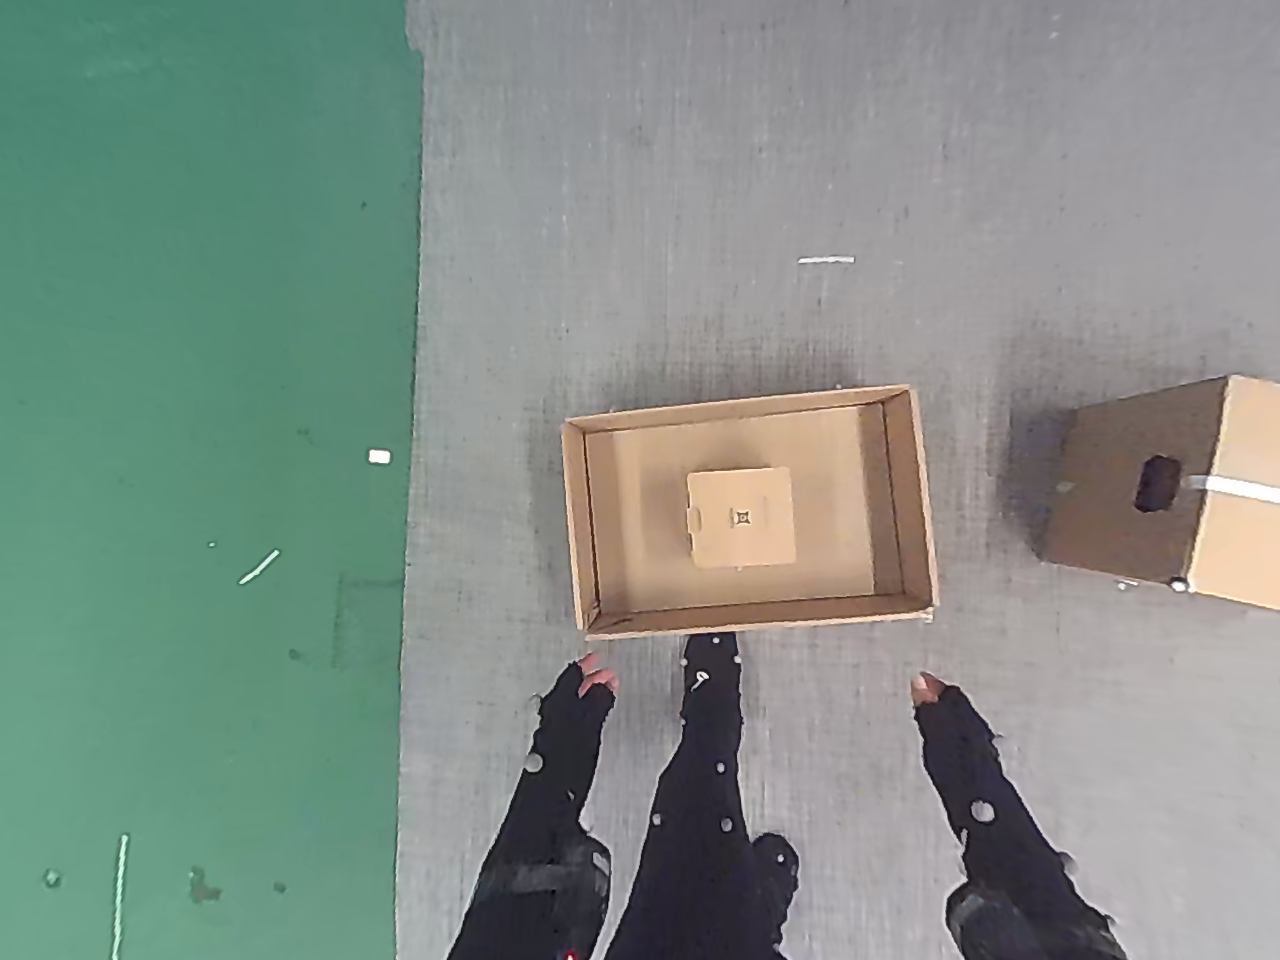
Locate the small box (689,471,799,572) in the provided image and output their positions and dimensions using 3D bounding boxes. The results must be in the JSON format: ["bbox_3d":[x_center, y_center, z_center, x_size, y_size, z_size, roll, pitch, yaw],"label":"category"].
[{"bbox_3d":[0.183,0.074,0.993,0.179,0.176,0.168,-5,89,4],"label":"small box"}]
